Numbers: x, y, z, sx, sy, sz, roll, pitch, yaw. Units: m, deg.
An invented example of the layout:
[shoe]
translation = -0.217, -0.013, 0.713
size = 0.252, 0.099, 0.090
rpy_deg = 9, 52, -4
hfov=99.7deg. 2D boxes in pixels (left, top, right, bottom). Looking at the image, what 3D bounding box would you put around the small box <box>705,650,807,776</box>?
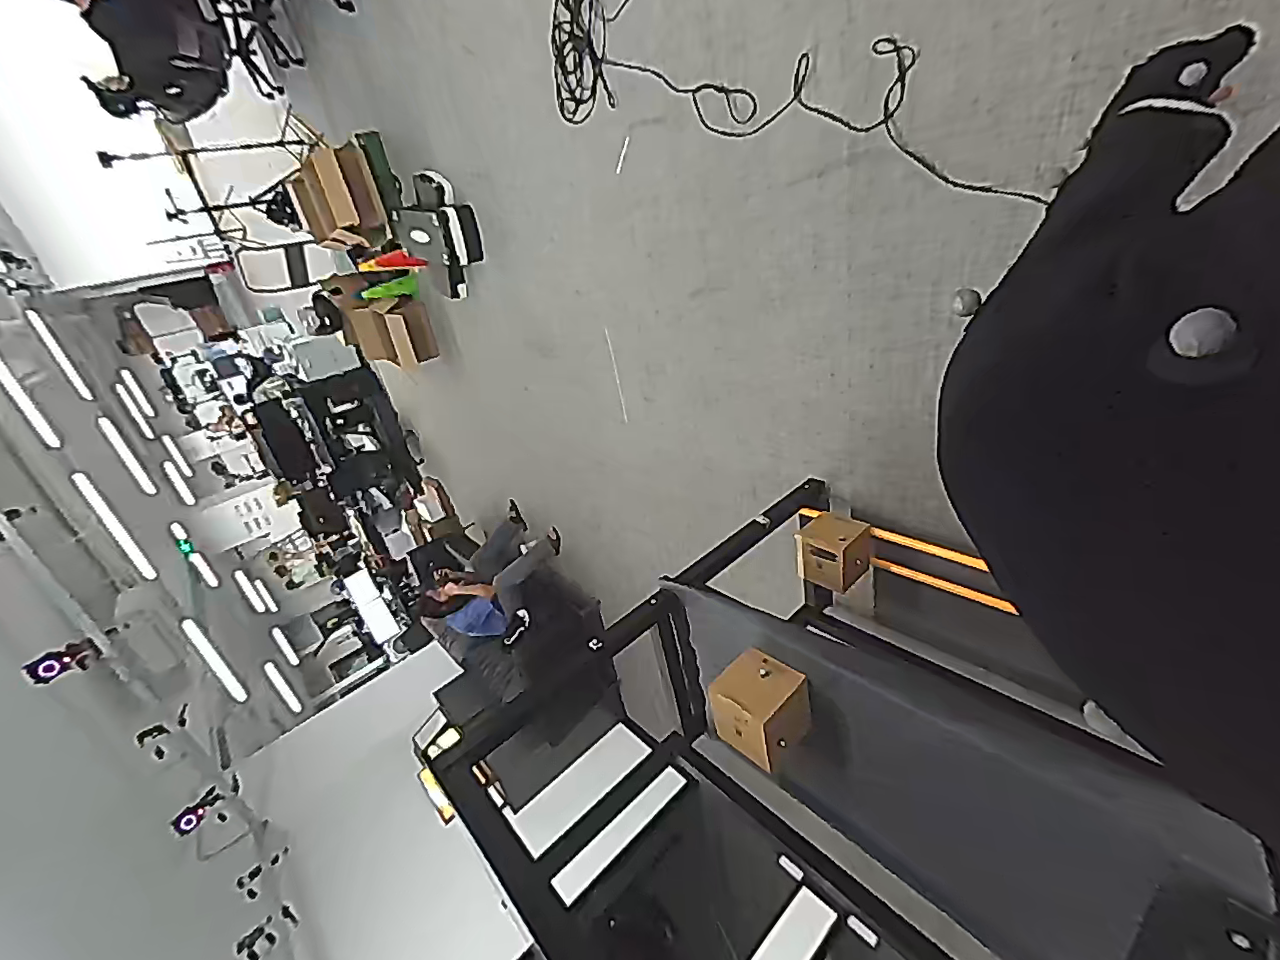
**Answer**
[small box]
translation = 0.281, 0.544, 1.284
size = 0.168, 0.176, 0.179
rpy_deg = 18, 129, 46
